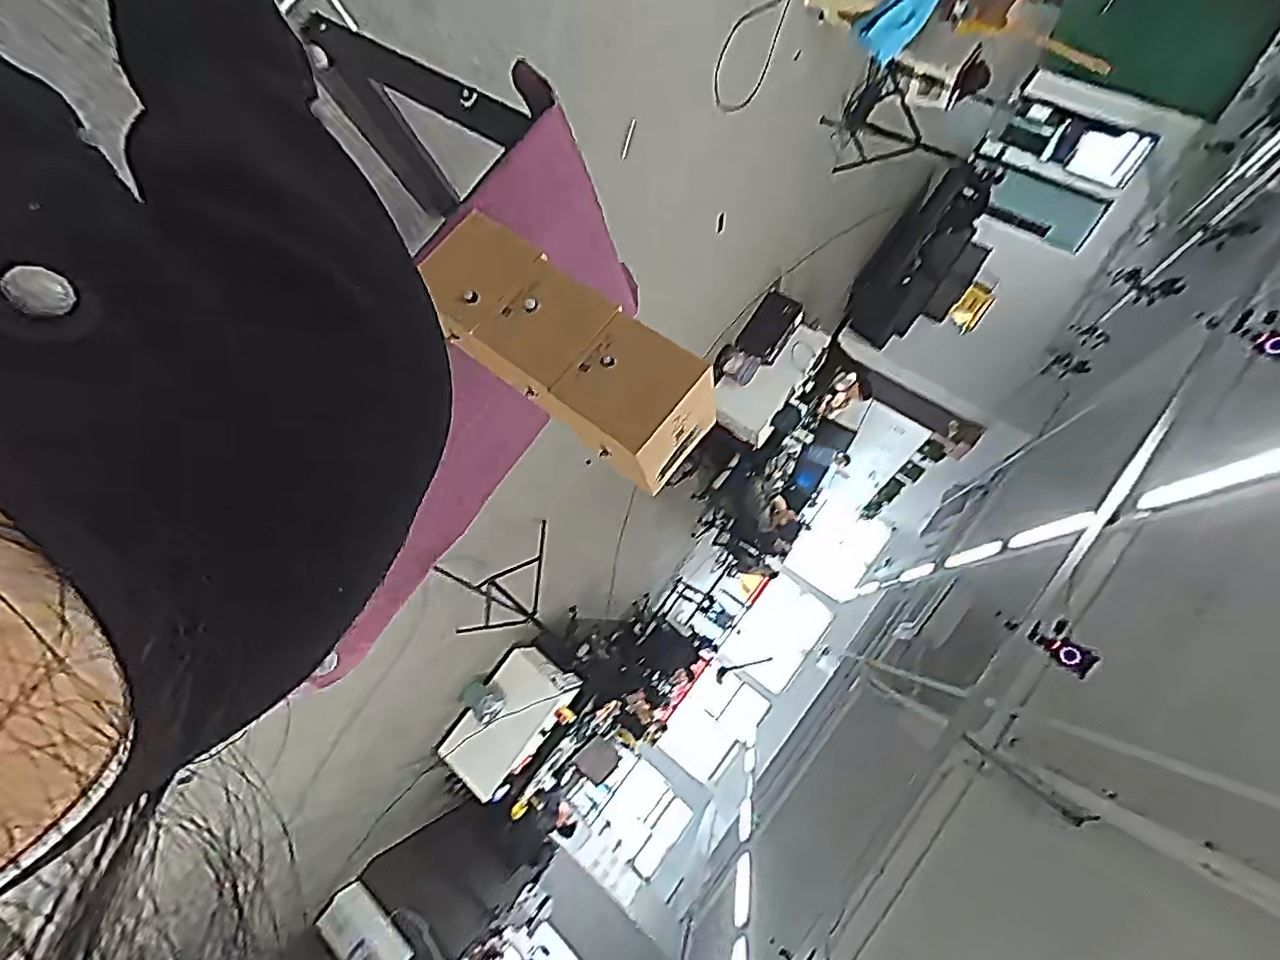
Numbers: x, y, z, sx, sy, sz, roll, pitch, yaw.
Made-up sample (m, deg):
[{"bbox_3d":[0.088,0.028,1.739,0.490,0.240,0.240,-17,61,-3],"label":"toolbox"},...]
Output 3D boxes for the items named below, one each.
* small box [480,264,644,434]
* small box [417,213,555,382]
[{"bbox_3d":[-0.119,-0.210,0.871,0.168,0.176,0.179,-51,160,-8],"label":"small box"},{"bbox_3d":[-0.245,-0.306,0.915,0.179,0.176,0.168,-52,162,-9],"label":"small box"}]
